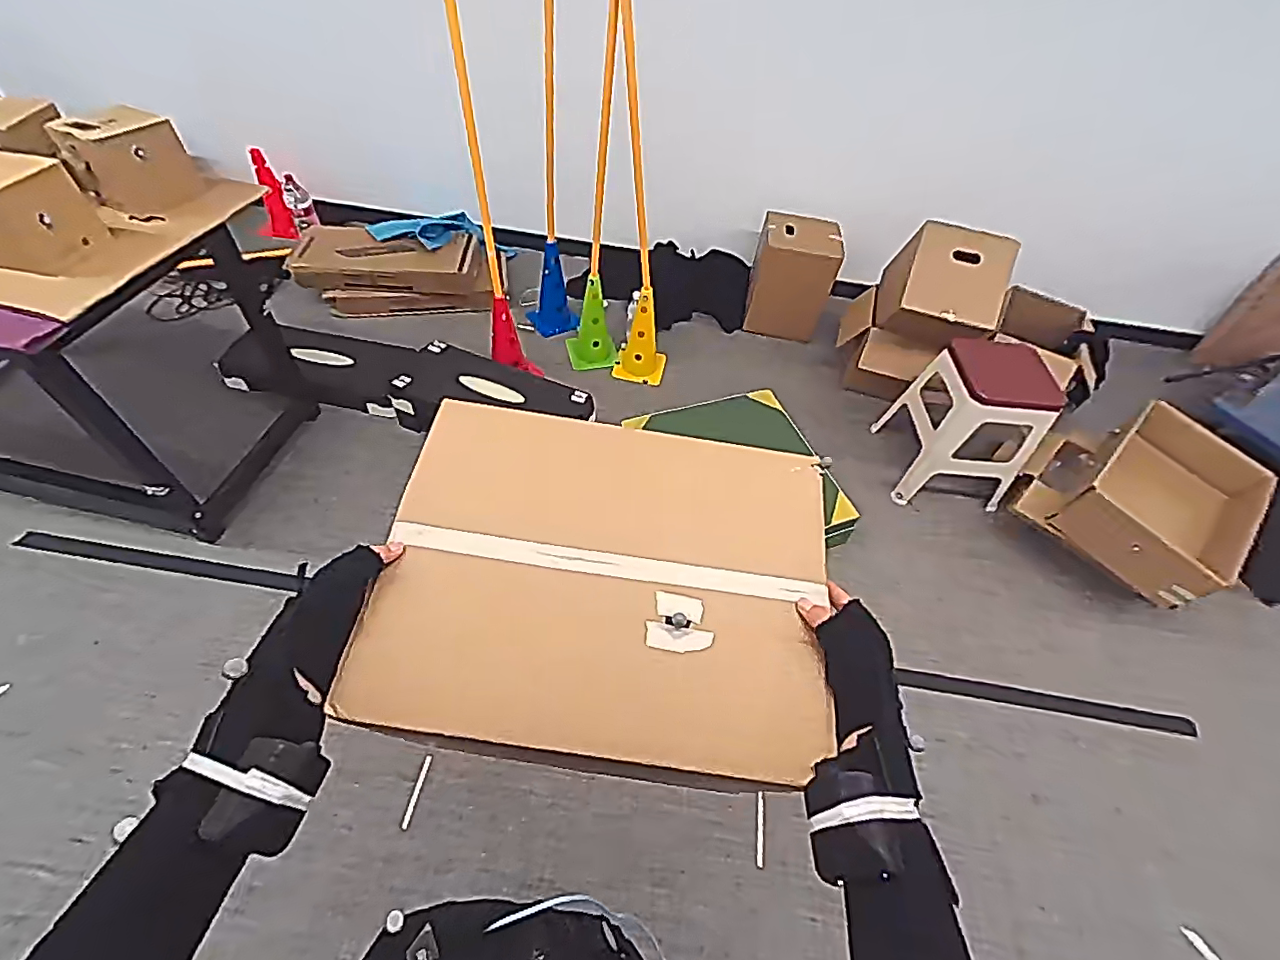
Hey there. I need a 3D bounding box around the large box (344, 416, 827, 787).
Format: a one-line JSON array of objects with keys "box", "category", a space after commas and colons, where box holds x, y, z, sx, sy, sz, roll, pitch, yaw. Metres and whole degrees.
[{"box": [-0.042, 0.162, 0.638, 0.408, 0.320, 0.320, 9, 61, -1], "category": "large box"}]
